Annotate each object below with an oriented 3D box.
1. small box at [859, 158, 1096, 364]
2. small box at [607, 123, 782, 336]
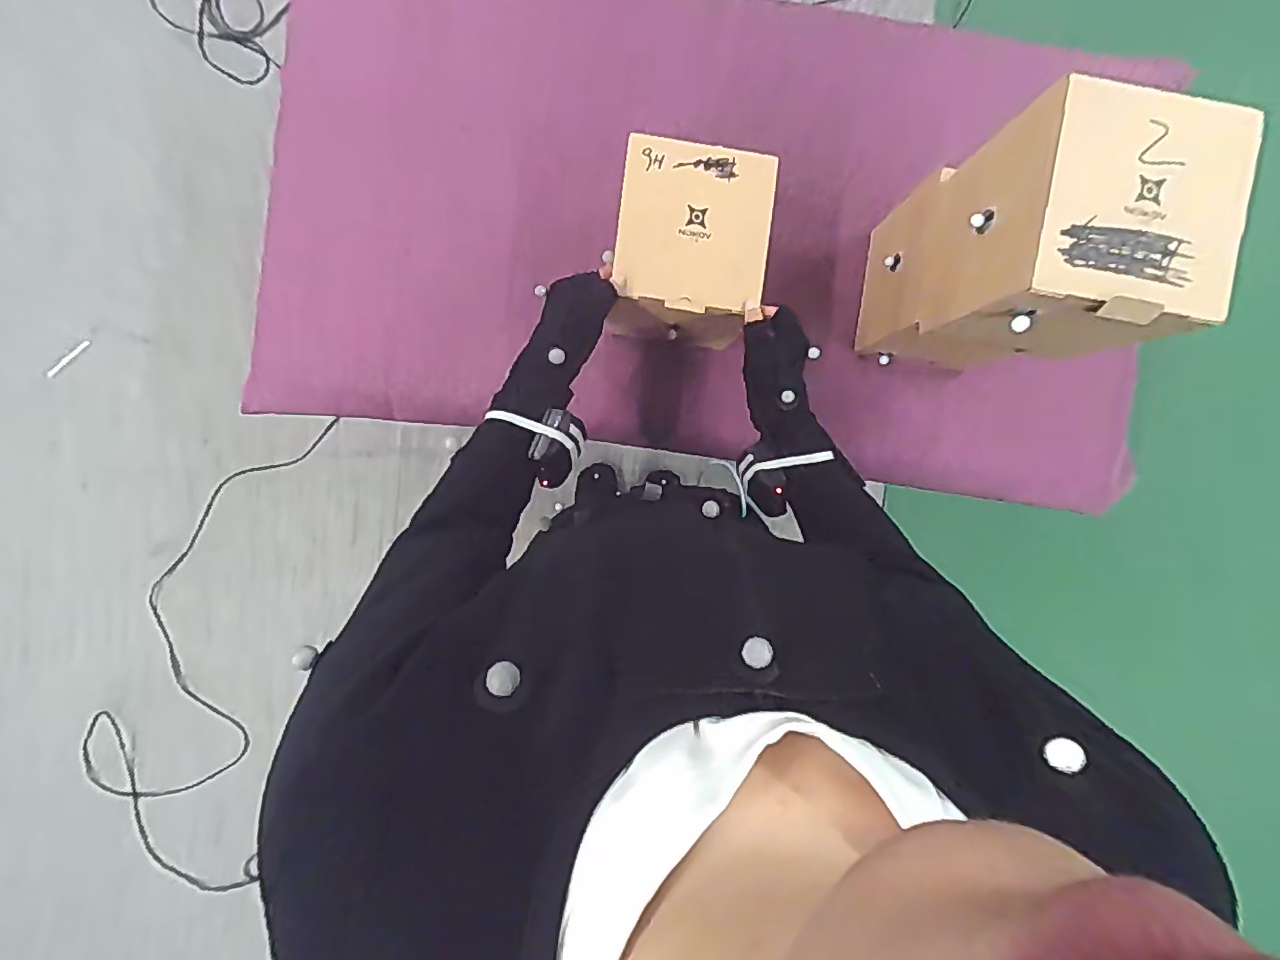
[{"bbox_3d":[0.395,-0.250,0.667,0.168,0.176,0.179,11,93,-5],"label":"small box"},{"bbox_3d":[0.055,-0.282,0.653,0.168,0.176,0.179,8,94,-4],"label":"small box"}]
